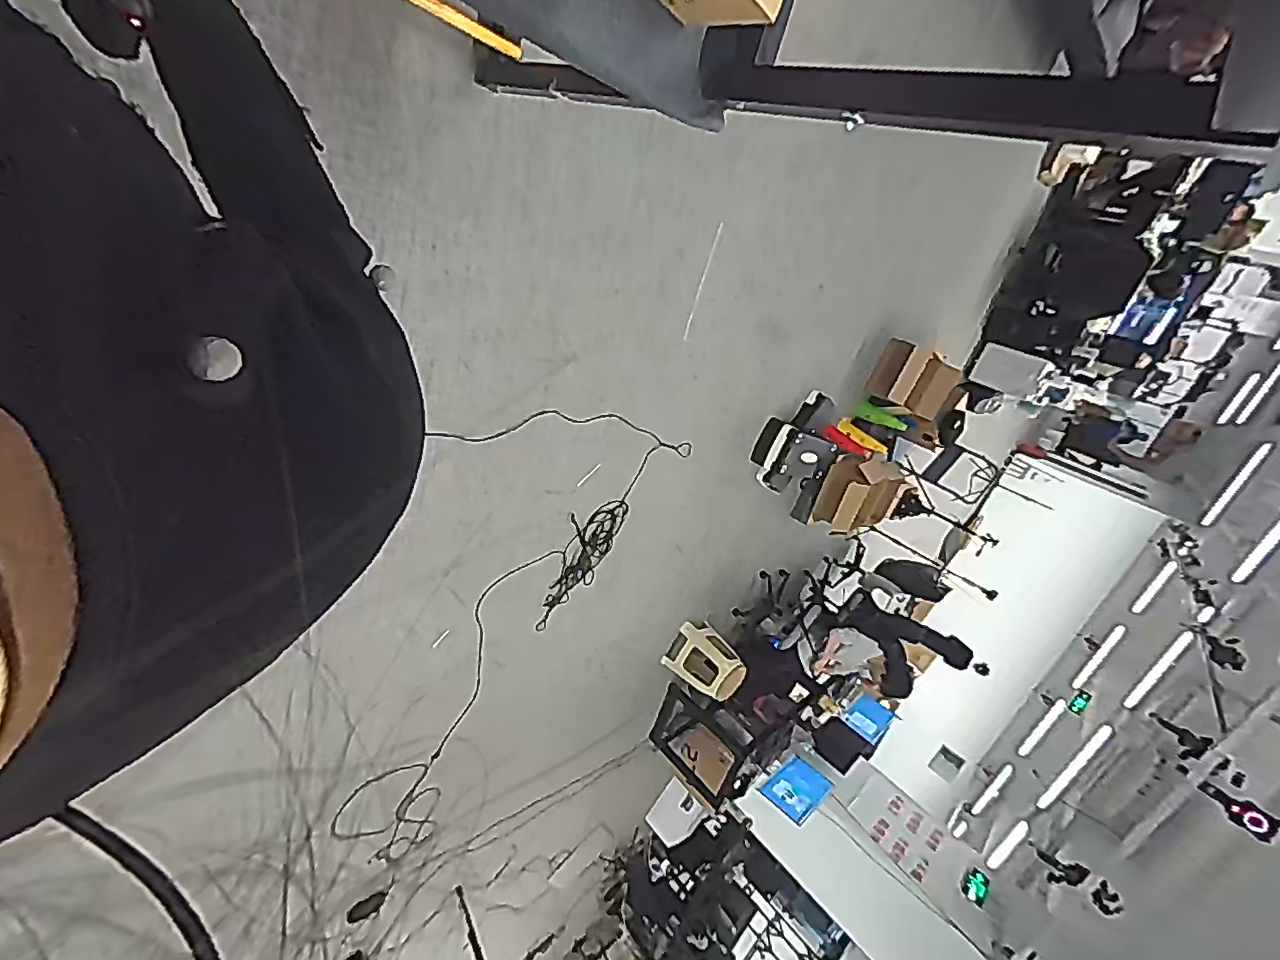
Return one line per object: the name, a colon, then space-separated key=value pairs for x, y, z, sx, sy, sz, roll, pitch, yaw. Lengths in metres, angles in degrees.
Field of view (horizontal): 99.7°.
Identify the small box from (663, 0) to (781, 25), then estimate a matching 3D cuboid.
small box: x=0.097 y=-0.727 z=0.692 sx=0.168 sy=0.176 sz=0.179 roll=-3 pitch=119 yaw=-48
